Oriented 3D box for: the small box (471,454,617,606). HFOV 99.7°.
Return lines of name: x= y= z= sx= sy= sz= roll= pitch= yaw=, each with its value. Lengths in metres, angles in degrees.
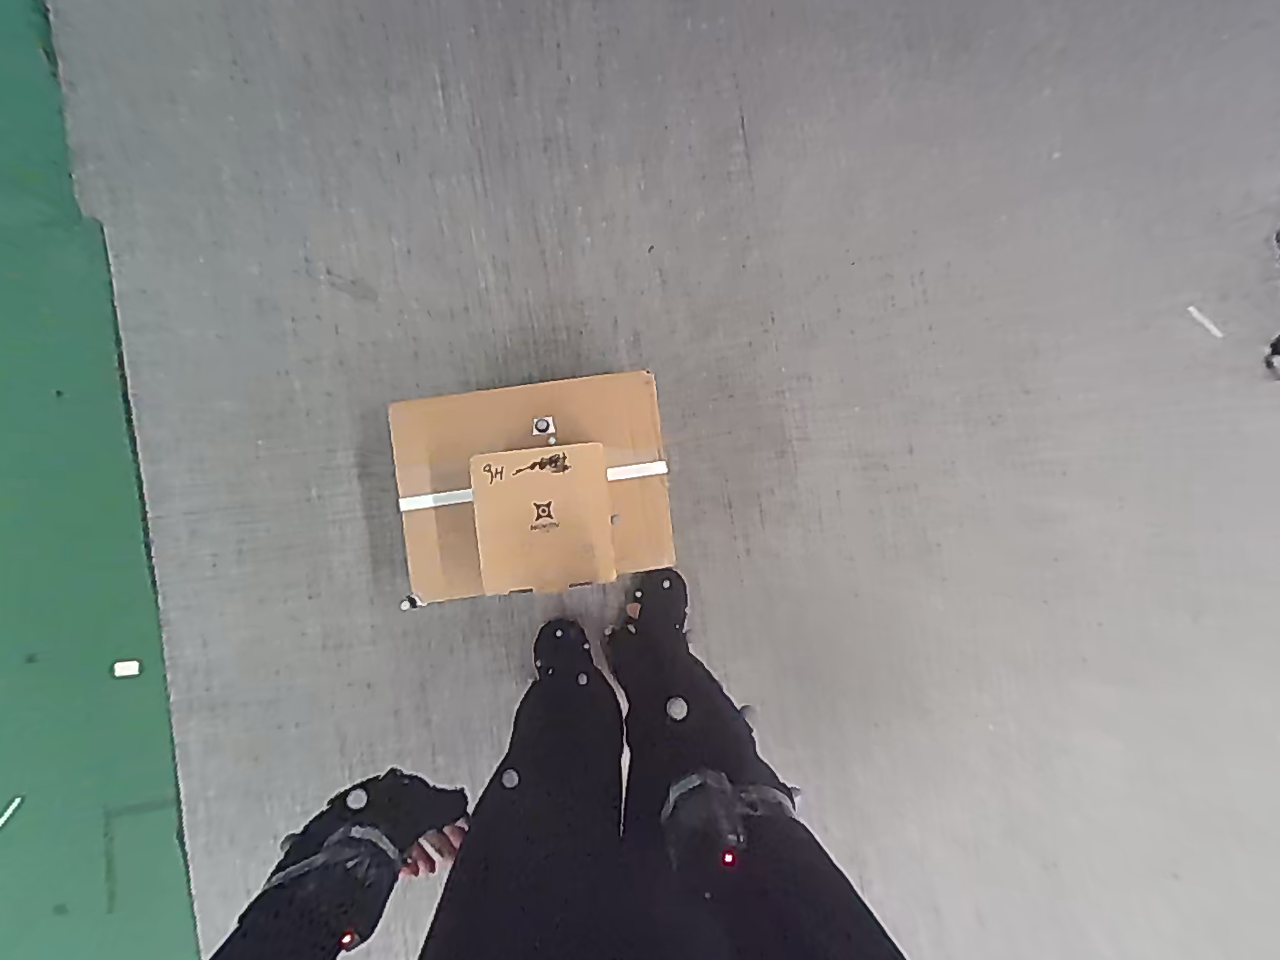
small box: x=-0.121 y=0.059 z=0.740 sx=0.168 sy=0.176 sz=0.179 roll=-6 pitch=90 yaw=-3
